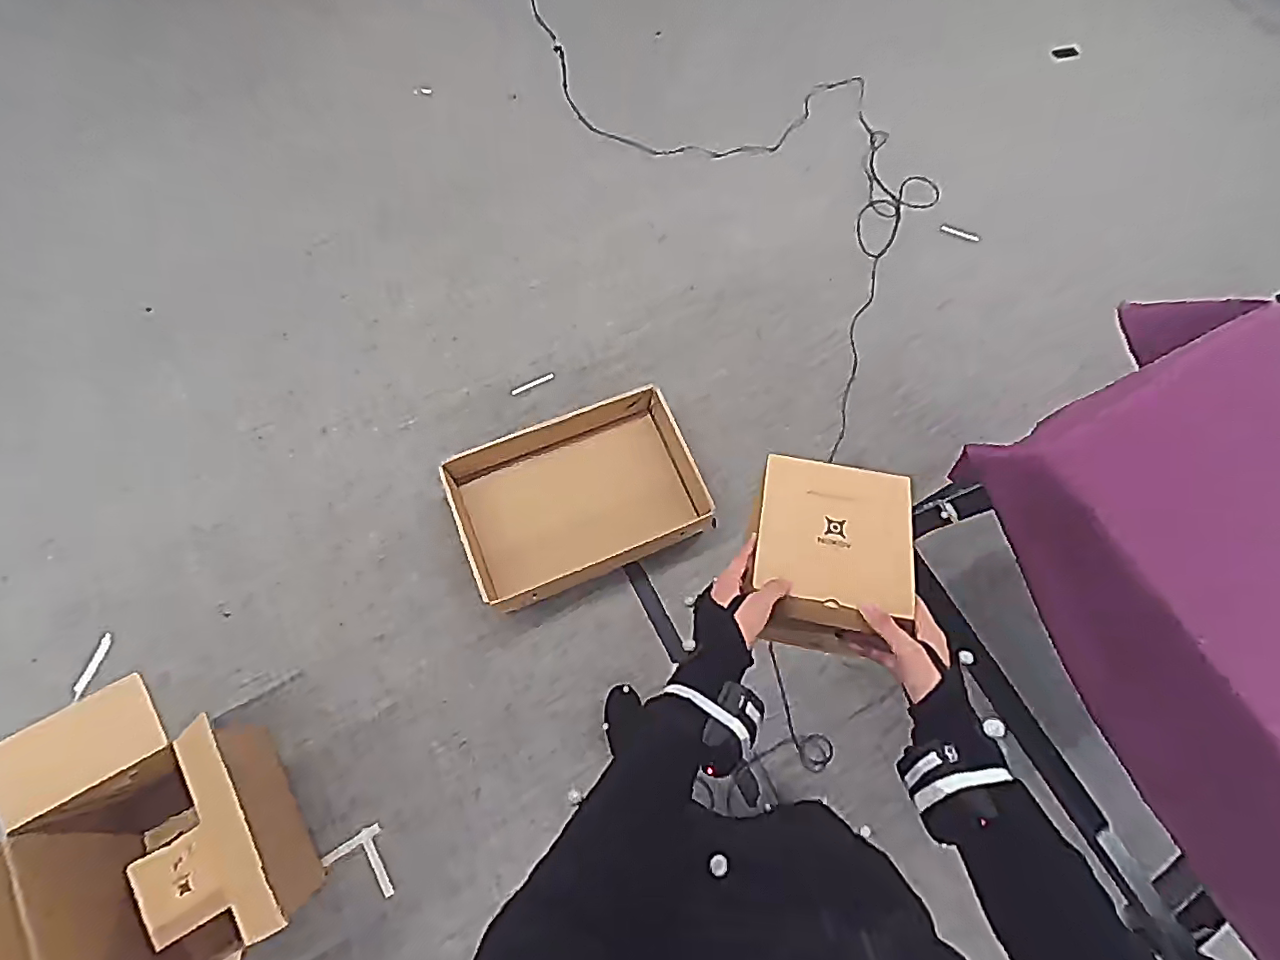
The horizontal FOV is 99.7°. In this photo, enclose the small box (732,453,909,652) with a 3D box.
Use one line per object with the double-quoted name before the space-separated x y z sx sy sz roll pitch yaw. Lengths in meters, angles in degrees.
"small box" 0.211 0.095 0.658 0.168 0.176 0.179 10 60 7
